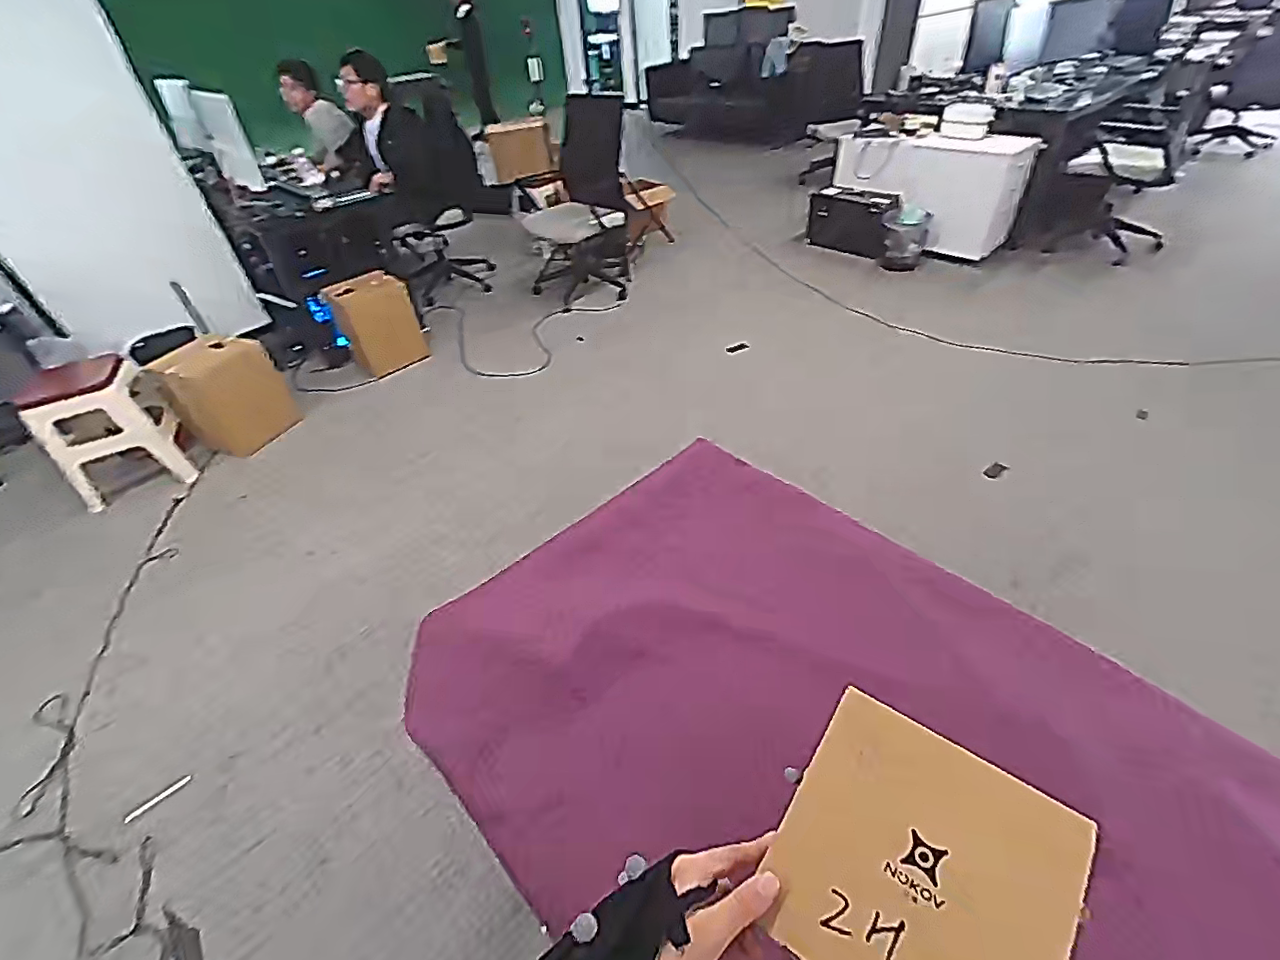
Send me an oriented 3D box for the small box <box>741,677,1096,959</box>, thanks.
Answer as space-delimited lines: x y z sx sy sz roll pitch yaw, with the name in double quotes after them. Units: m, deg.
0.189 0.289 0.404 0.168 0.176 0.179 24 61 29 "small box"
